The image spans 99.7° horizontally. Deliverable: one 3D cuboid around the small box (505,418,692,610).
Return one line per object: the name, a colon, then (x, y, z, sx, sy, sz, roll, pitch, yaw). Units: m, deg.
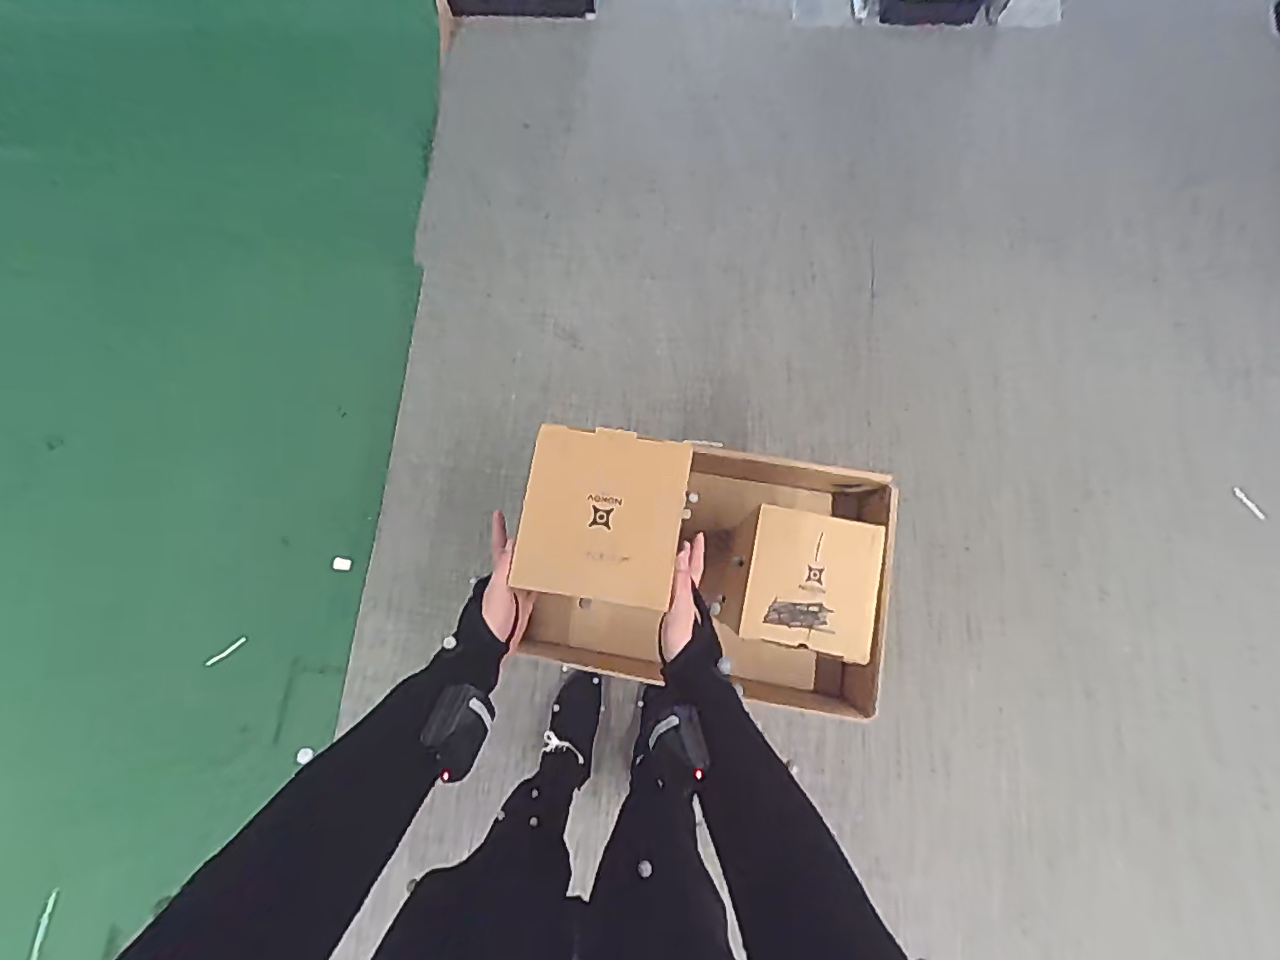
small box: (-0.037, 0.046, 0.623, 0.168, 0.176, 0.179, 9, 79, 5)

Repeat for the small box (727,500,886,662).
small box: (0.222, 0.140, 0.761, 0.168, 0.176, 0.179, 11, 79, 5)
